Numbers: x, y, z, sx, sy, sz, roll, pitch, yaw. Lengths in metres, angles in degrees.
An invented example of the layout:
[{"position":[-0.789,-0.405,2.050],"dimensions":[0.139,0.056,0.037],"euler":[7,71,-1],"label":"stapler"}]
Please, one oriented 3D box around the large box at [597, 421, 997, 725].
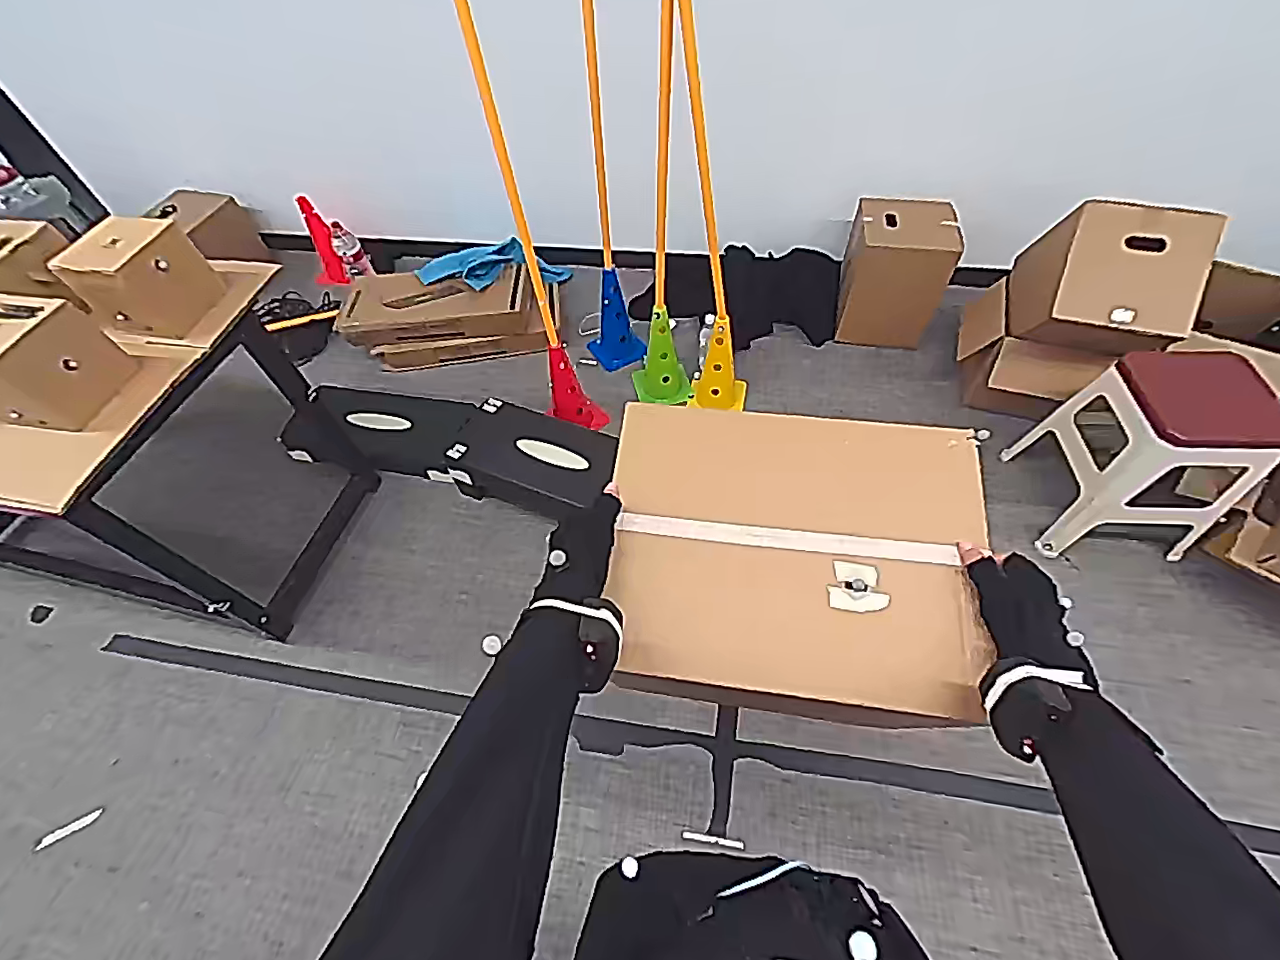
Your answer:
[{"position":[0.174,0.141,0.735],"dimensions":[0.408,0.320,0.320],"euler":[6,67,6],"label":"large box"}]
